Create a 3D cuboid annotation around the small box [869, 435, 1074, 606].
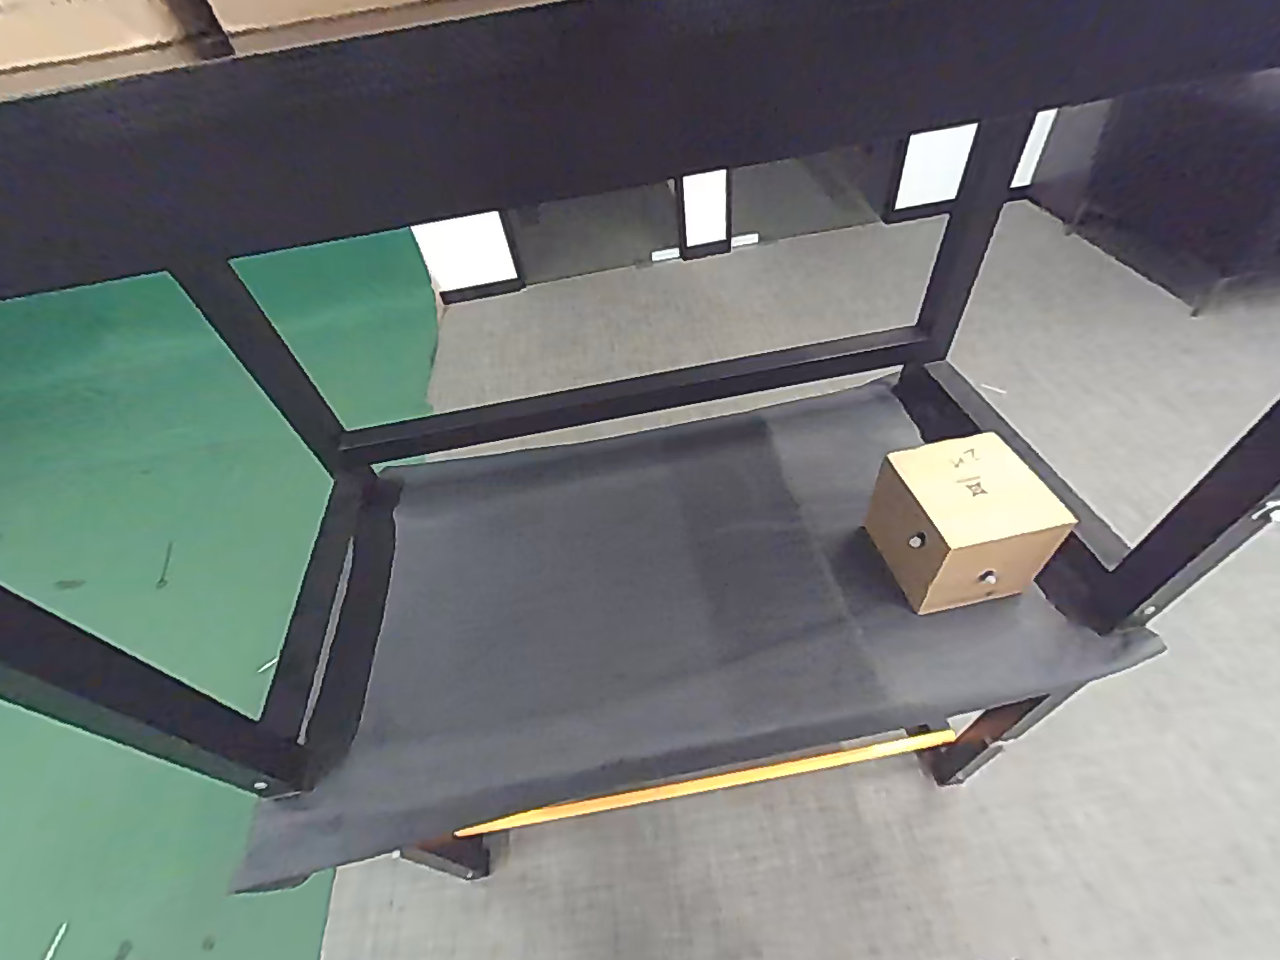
[{"bbox_3d":[0.459,0.066,0.785,0.168,0.176,0.179,-12,46,-2],"label":"small box"}]
